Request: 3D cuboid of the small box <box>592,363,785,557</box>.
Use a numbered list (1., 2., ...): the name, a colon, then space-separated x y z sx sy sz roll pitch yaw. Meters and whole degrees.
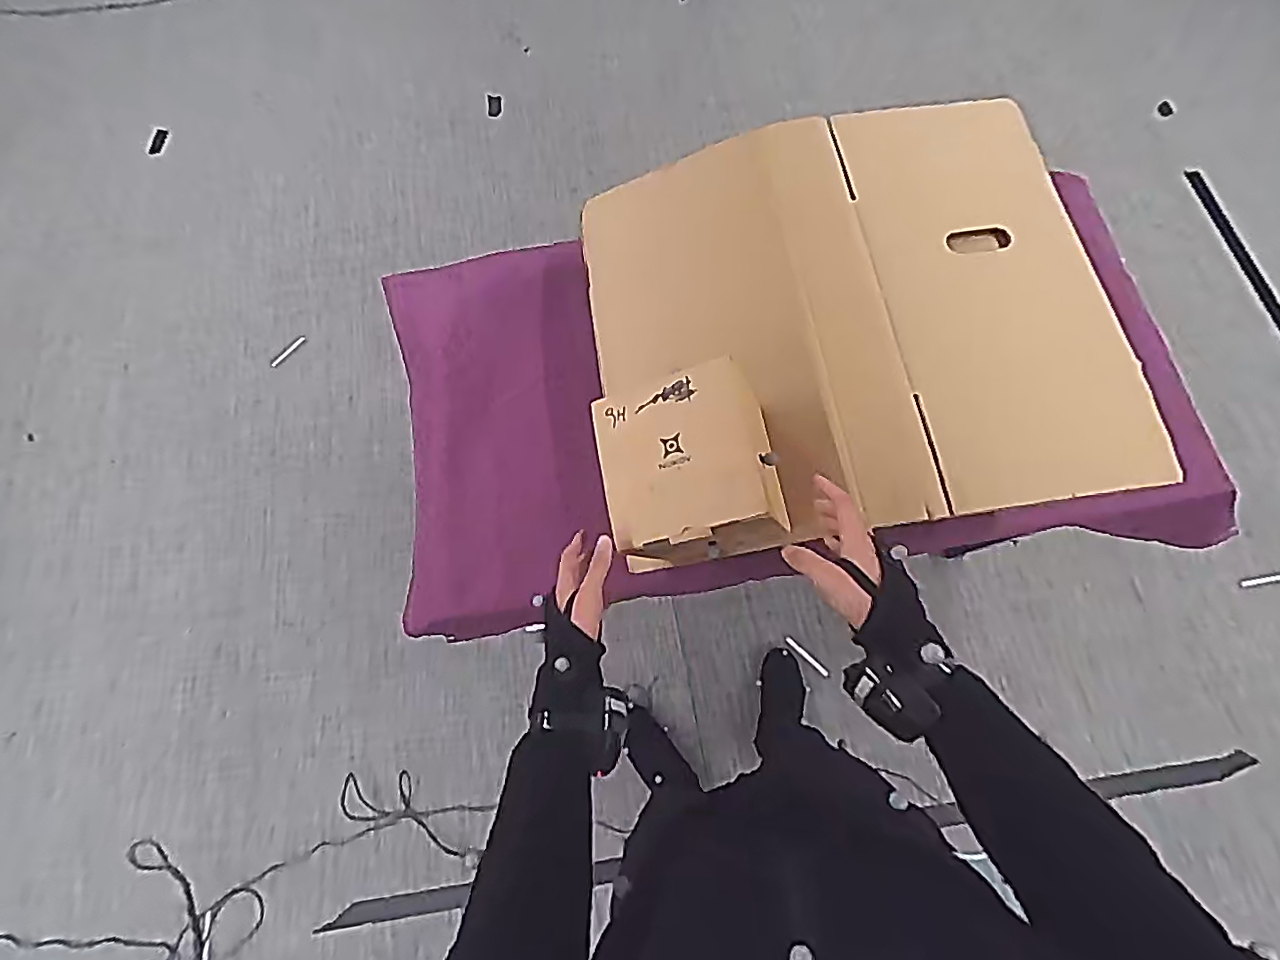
1. small box: 0.064 -0.008 0.640 0.168 0.176 0.179 -16 74 19
